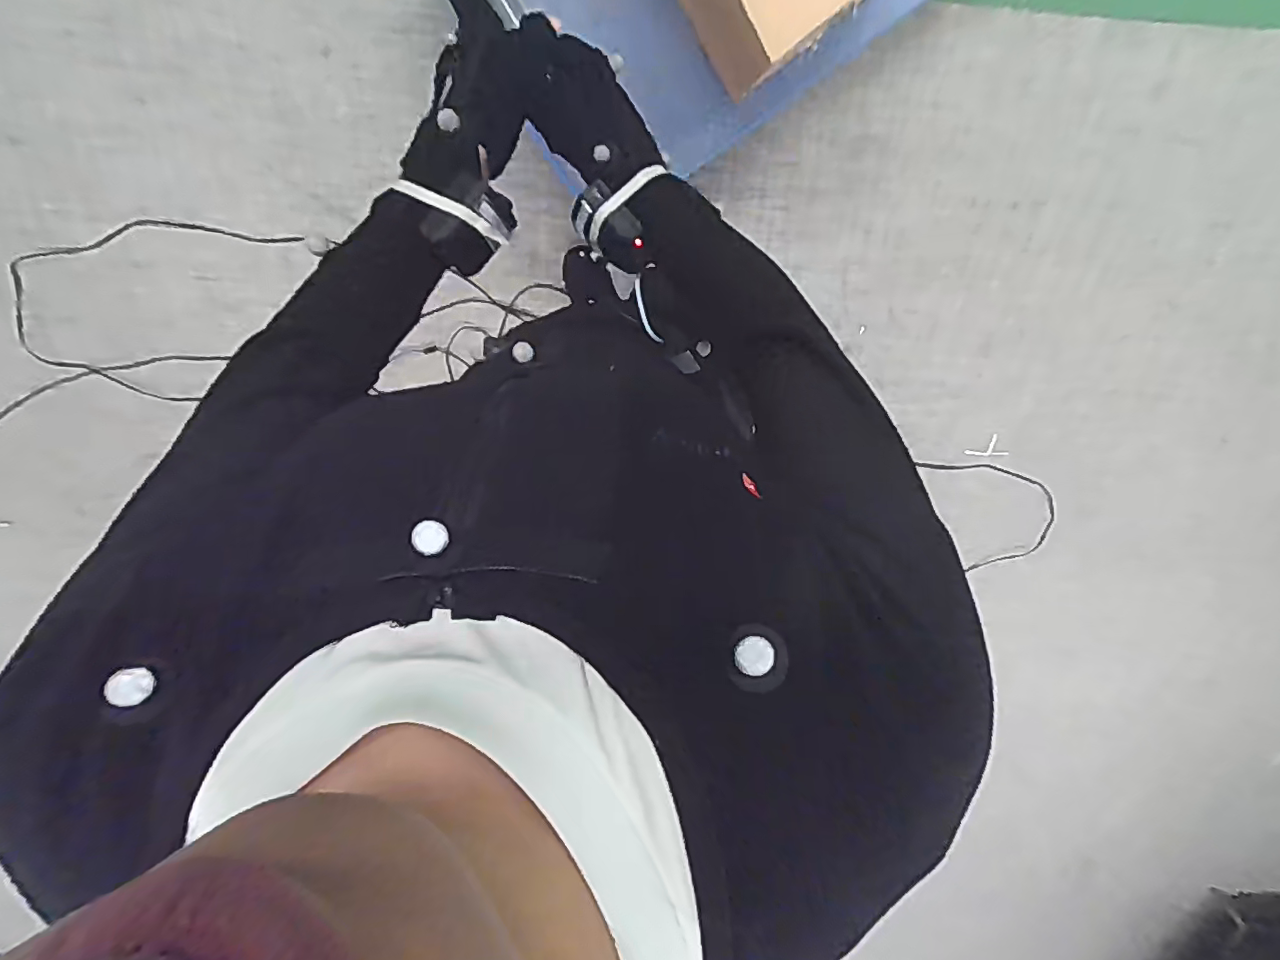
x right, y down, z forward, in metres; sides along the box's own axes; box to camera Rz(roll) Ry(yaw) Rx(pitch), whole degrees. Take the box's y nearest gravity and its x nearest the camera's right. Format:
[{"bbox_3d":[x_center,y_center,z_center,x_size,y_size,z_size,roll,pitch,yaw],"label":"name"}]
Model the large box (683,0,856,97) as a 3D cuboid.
[{"bbox_3d":[0.190,-0.878,0.785,0.320,0.320,0.408,-33,112,13],"label":"large box"}]
